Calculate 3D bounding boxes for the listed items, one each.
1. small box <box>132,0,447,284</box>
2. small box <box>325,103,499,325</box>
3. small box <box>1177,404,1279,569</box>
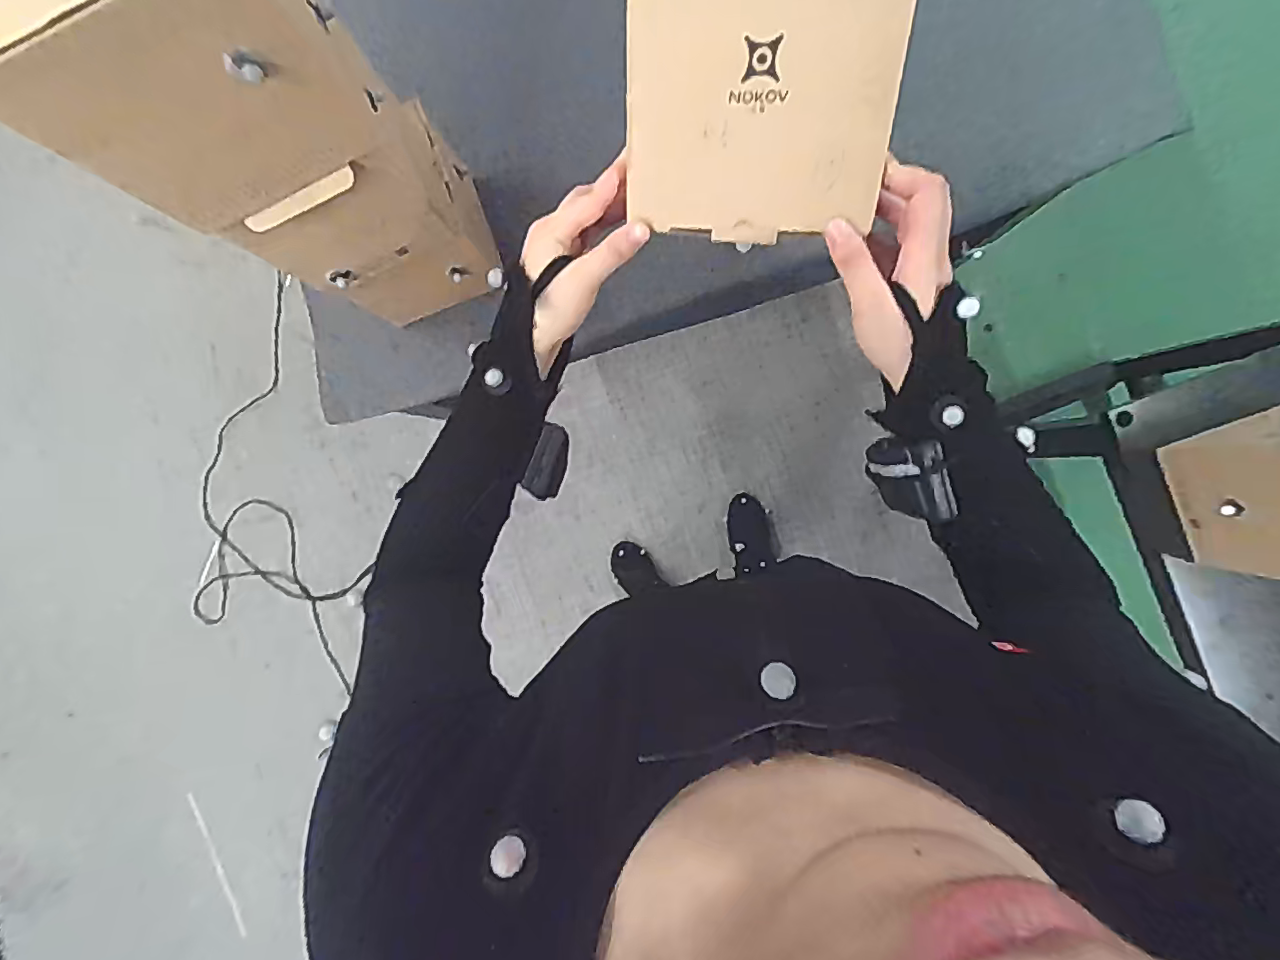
[{"bbox_3d":[-0.322,-0.318,0.534,0.168,0.176,0.179,-25,87,4],"label":"small box"},{"bbox_3d":[-0.301,-0.324,0.697,0.179,0.176,0.168,-21,88,5],"label":"small box"},{"bbox_3d":[0.785,0.003,0.621,0.179,0.176,0.168,-21,91,4],"label":"small box"}]
